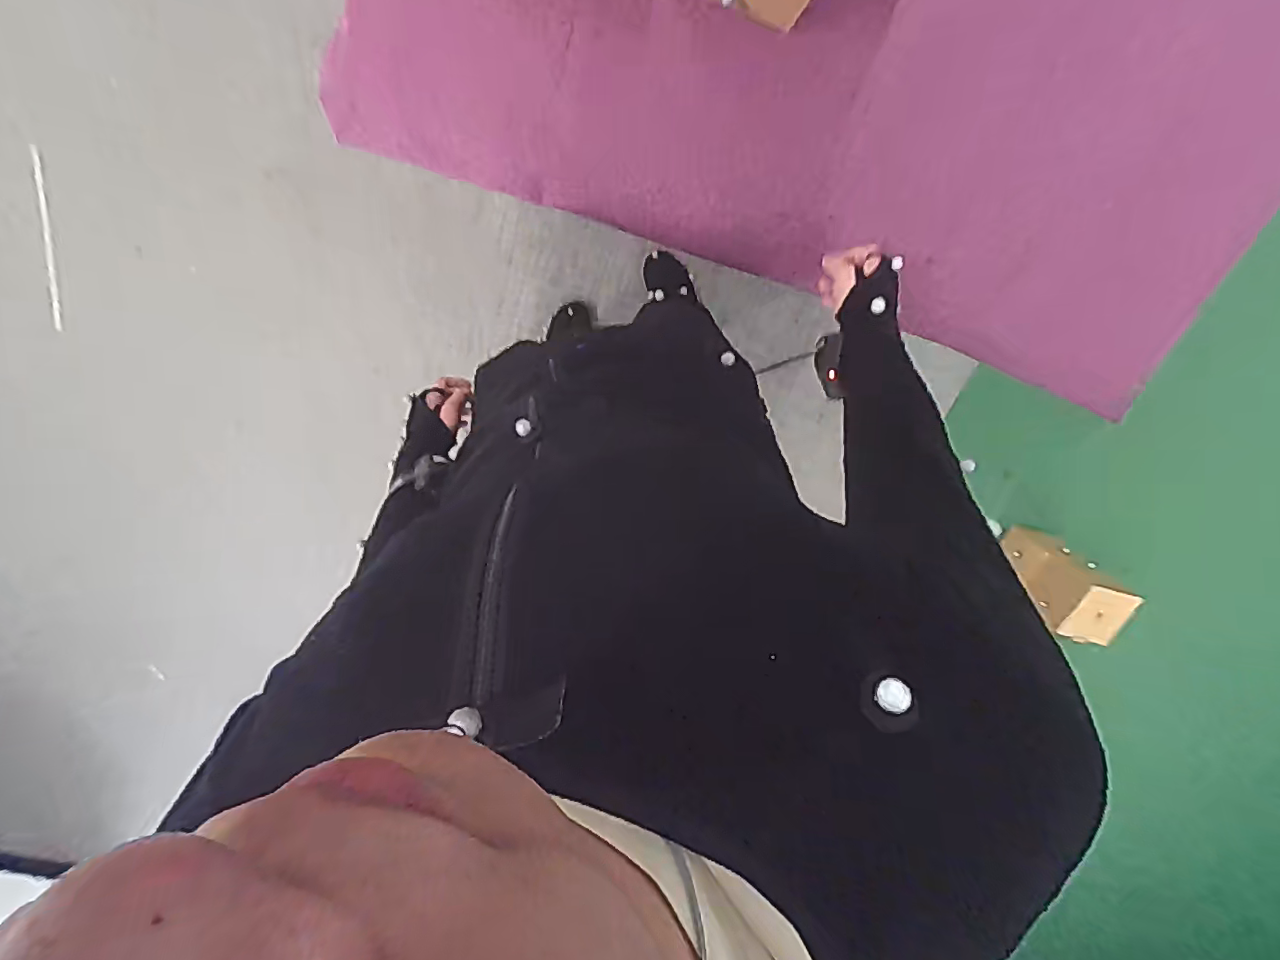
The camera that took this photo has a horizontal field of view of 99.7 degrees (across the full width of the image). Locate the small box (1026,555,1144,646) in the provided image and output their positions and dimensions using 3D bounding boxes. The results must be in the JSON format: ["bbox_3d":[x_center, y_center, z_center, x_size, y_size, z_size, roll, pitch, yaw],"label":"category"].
[{"bbox_3d":[1.283,0.349,1.580,0.168,0.176,0.179,15,113,-7],"label":"small box"}]

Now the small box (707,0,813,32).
[{"bbox_3d":[0.129,-0.601,0.536,0.168,0.176,0.179,18,115,-7],"label":"small box"}]

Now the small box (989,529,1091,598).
[{"bbox_3d":[1.269,0.276,1.725,0.179,0.176,0.168,15,114,-7],"label":"small box"}]
